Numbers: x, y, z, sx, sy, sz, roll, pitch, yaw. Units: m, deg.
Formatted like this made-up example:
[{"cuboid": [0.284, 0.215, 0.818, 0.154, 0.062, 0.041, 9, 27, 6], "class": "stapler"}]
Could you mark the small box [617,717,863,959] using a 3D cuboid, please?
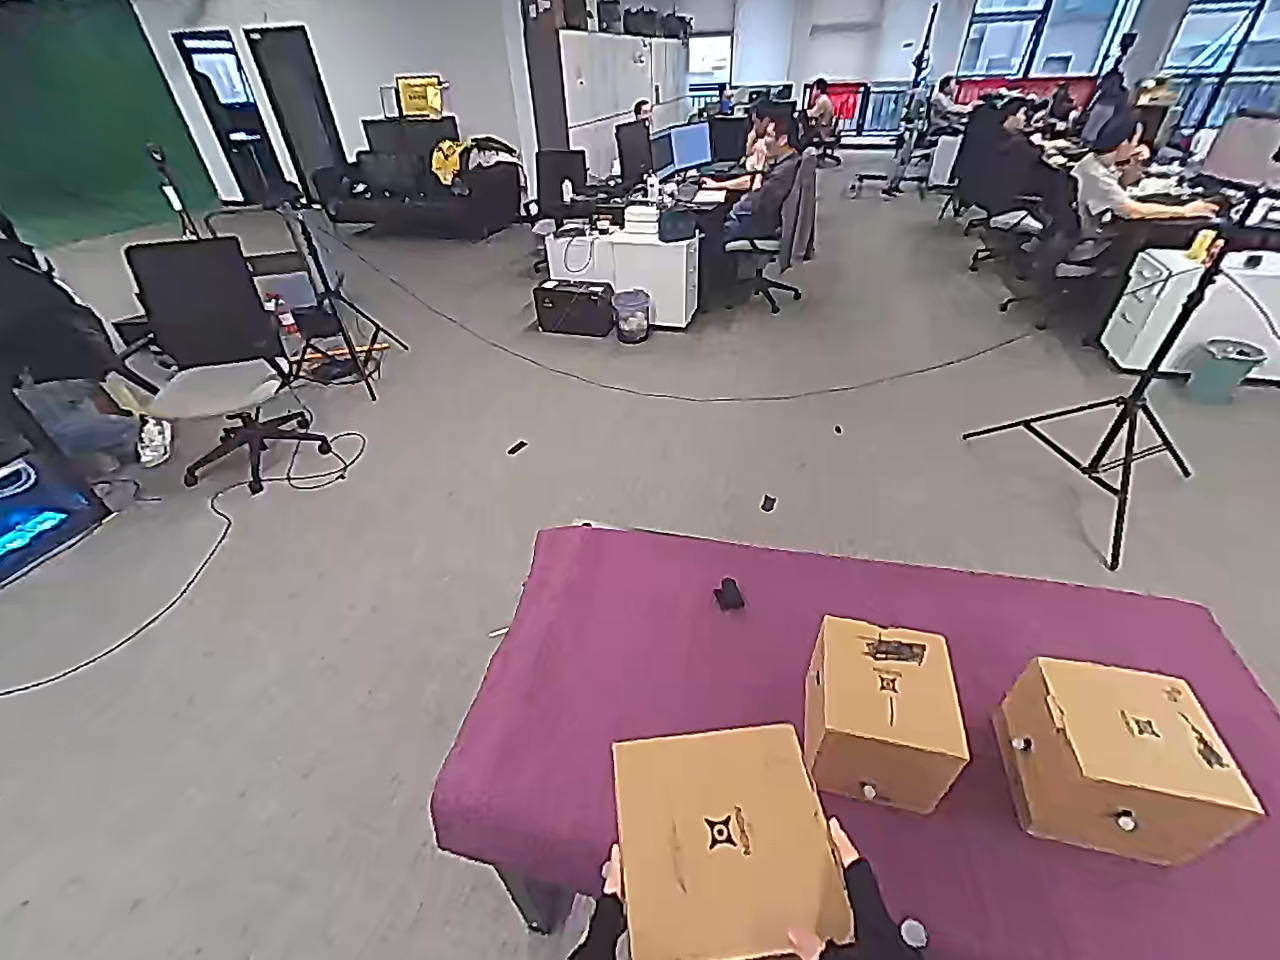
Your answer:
[{"cuboid": [0.072, 0.347, 0.504, 0.179, 0.176, 0.168, -5, 40, -5], "class": "small box"}]

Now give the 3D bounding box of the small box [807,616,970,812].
[{"cuboid": [0.331, 0.325, 0.761, 0.168, 0.176, 0.179, 7, 39, 13], "class": "small box"}]

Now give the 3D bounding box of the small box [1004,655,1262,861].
[{"cuboid": [0.604, 0.358, 0.702, 0.179, 0.176, 0.168, 6, 38, 13], "class": "small box"}]
